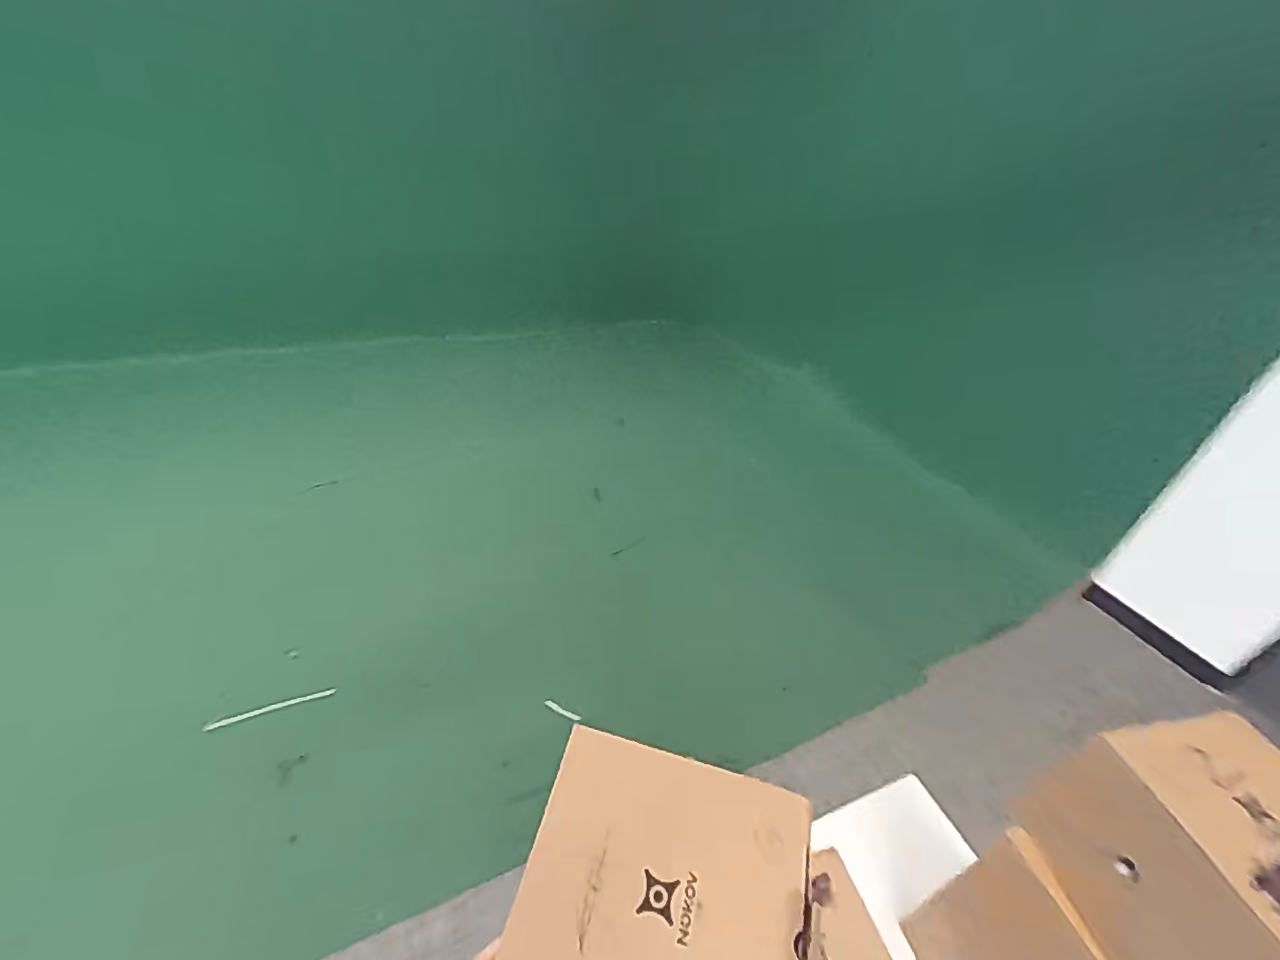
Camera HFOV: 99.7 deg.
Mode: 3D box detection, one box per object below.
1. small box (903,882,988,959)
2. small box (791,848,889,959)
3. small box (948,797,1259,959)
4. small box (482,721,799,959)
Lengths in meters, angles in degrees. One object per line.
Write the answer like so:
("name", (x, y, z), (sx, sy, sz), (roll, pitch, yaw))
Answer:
("small box", (0.472, 0.619, 0.682), (0.168, 0.176, 0.179), (-6, 38, -15))
("small box", (0.190, 0.600, 0.664), (0.168, 0.176, 0.179), (-6, 40, -16))
("small box", (0.482, 0.488, 0.586), (0.168, 0.176, 0.179), (-6, 39, -15))
("small box", (0.001, 0.307, 0.389), (0.179, 0.176, 0.168), (13, 45, 7))
